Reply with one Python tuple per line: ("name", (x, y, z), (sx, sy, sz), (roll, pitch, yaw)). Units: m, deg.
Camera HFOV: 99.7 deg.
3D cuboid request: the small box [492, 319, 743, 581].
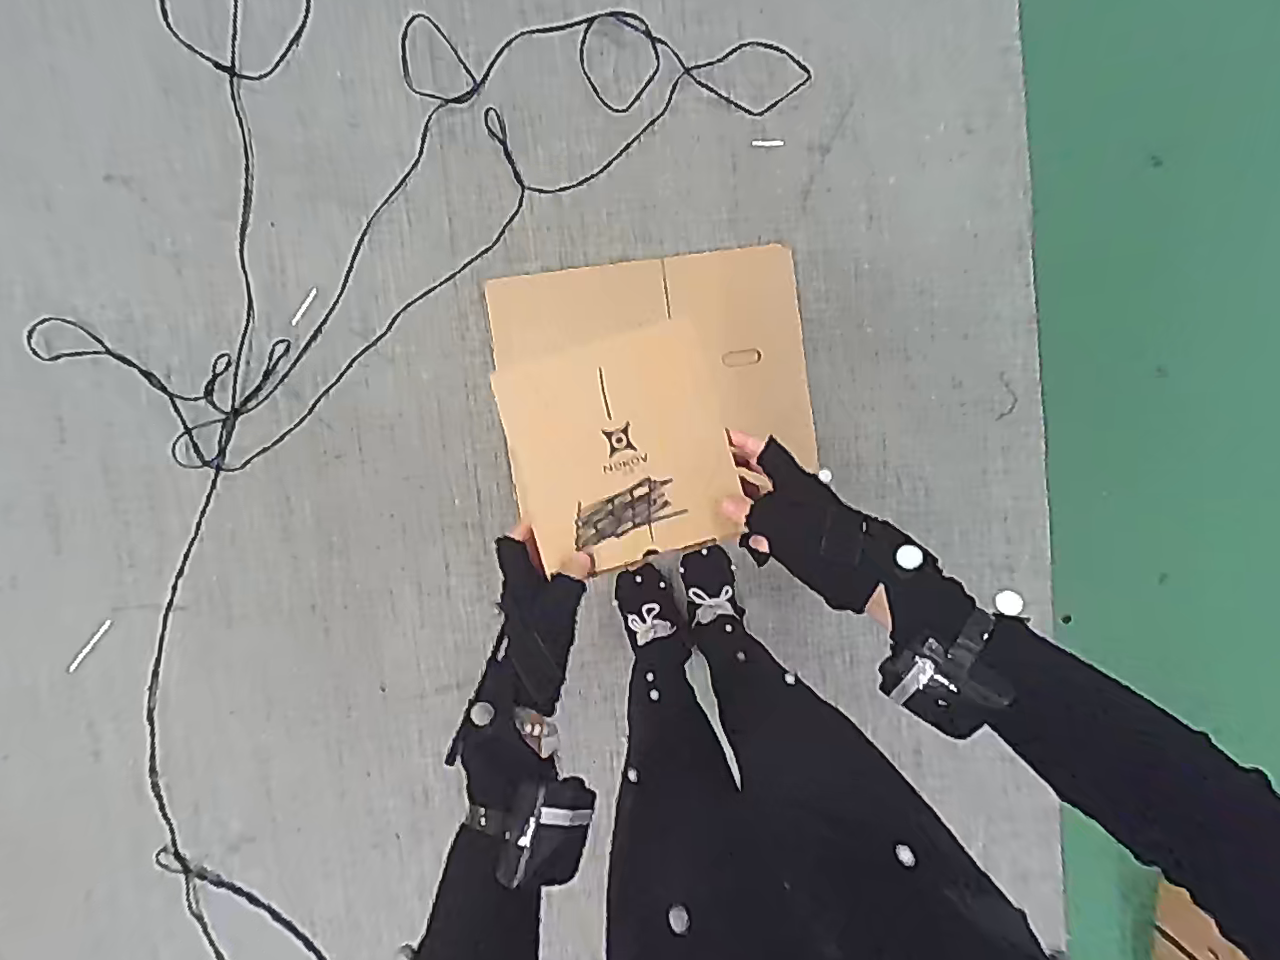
("small box", (-0.016, -0.023, 0.505), (0.168, 0.176, 0.179), (-16, 89, 0))
